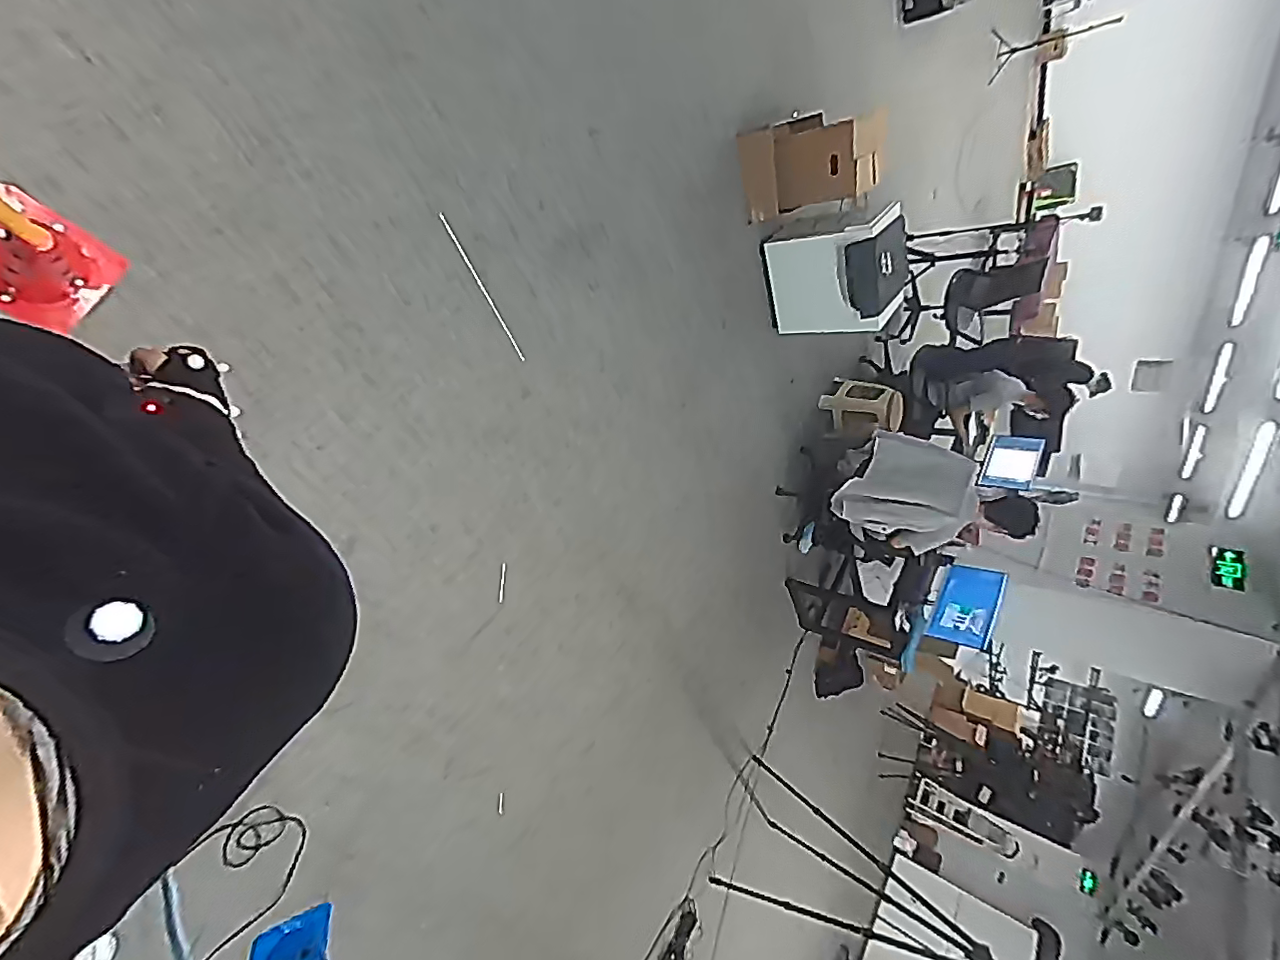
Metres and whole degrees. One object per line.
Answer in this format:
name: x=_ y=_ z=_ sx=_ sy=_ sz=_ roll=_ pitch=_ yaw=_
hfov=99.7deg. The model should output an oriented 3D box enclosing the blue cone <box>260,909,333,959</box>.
blue cone: x=-0.842 y=1.361 z=1.429 sx=0.193 sy=0.380 sz=0.192 roll=1 pitch=97 yaw=-52
